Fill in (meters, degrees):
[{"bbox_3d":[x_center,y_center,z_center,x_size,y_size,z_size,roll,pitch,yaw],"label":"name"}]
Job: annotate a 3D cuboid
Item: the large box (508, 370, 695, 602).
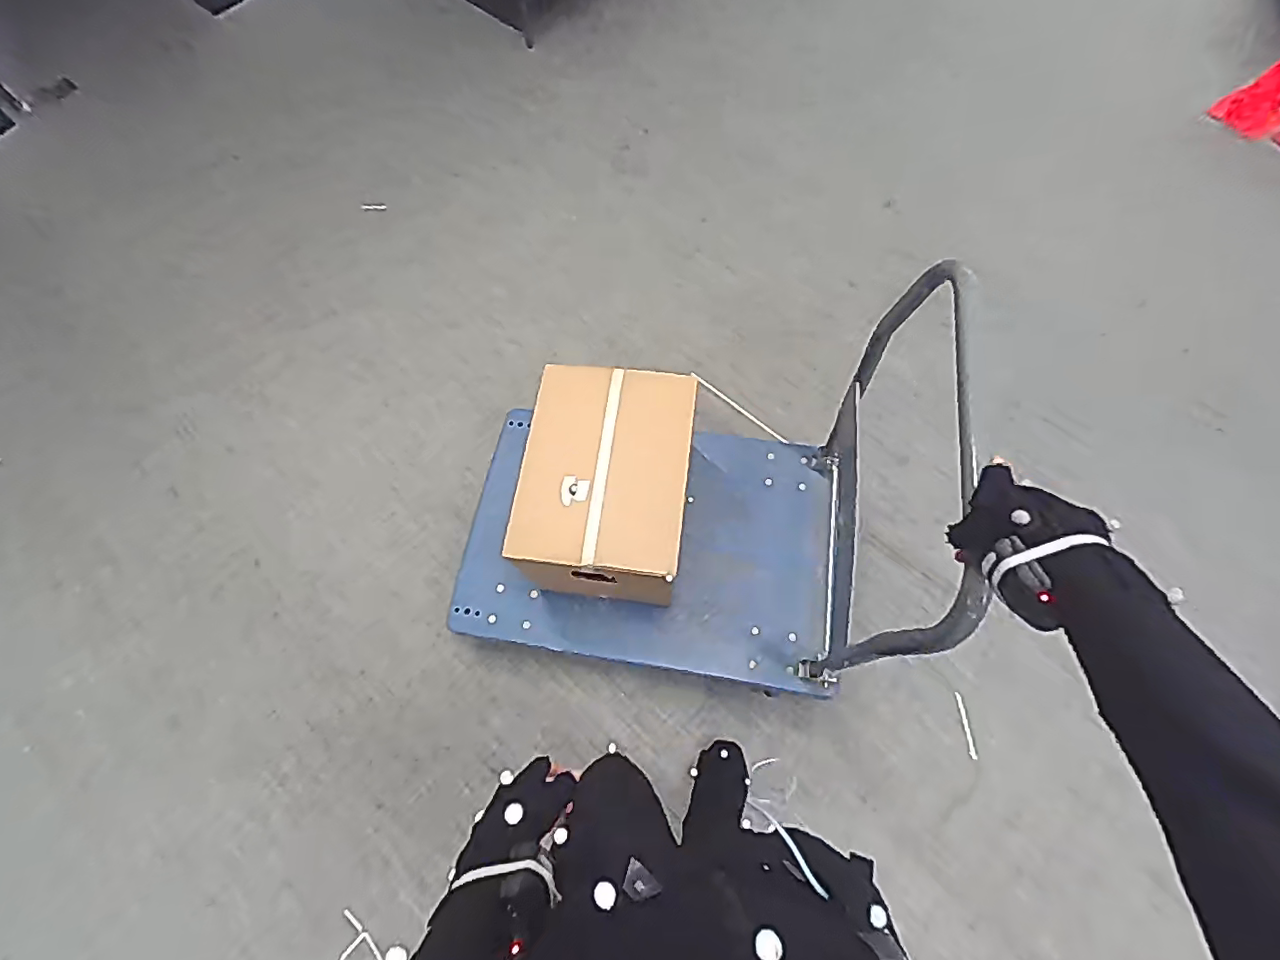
[{"bbox_3d":[-0.058,0.024,1.158,0.320,0.320,0.408,6,69,6],"label":"large box"}]
